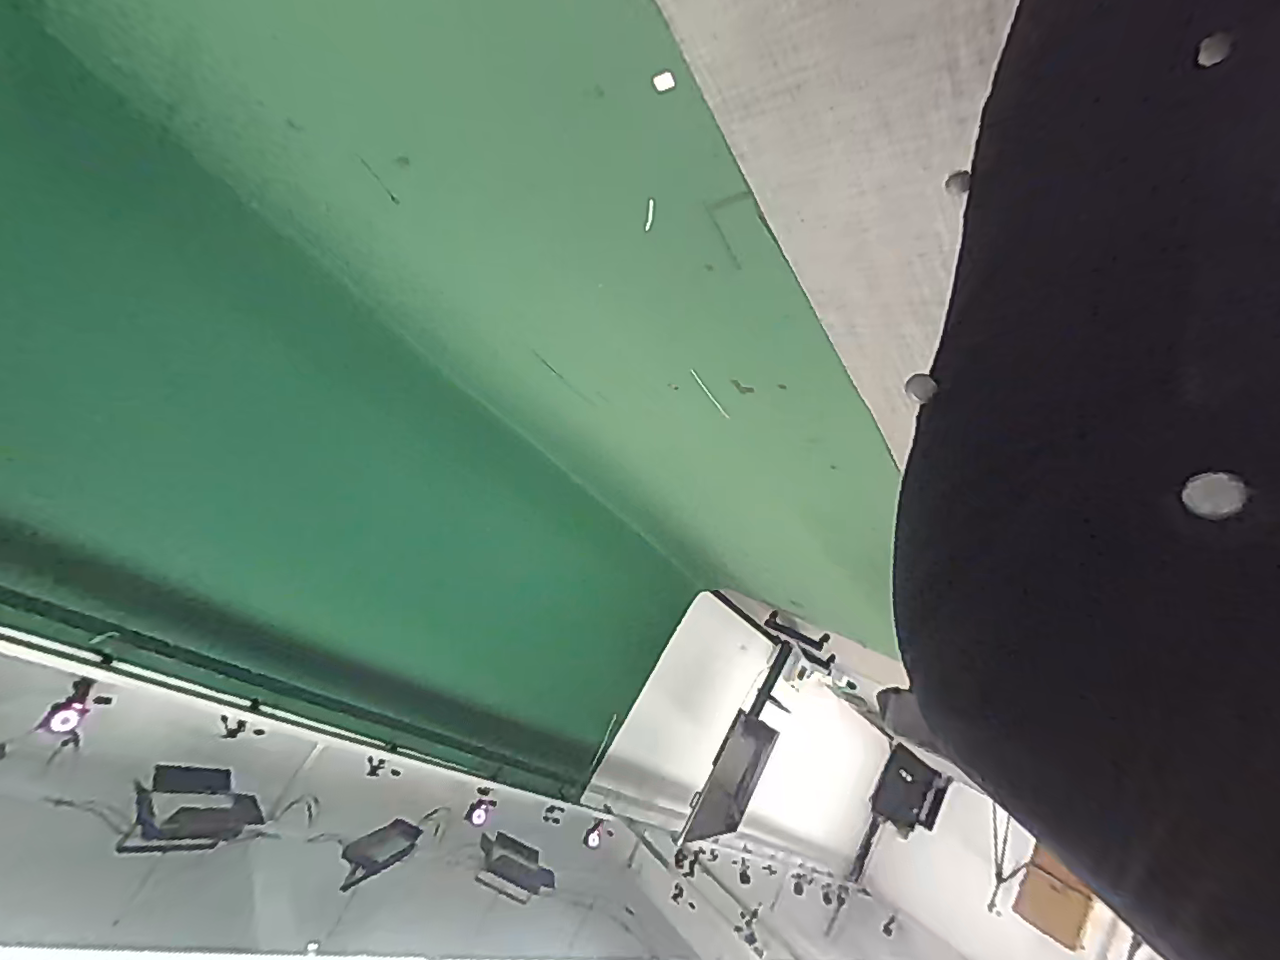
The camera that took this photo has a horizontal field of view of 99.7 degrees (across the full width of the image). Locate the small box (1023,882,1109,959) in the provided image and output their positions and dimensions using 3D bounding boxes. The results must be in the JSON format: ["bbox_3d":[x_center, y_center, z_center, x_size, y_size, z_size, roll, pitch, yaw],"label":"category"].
[{"bbox_3d":[1.389,1.450,1.762,0.179,0.176,0.168,16,159,50],"label":"small box"}]

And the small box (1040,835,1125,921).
[{"bbox_3d":[1.476,1.317,1.803,0.168,0.176,0.179,41,162,-35],"label":"small box"}]
